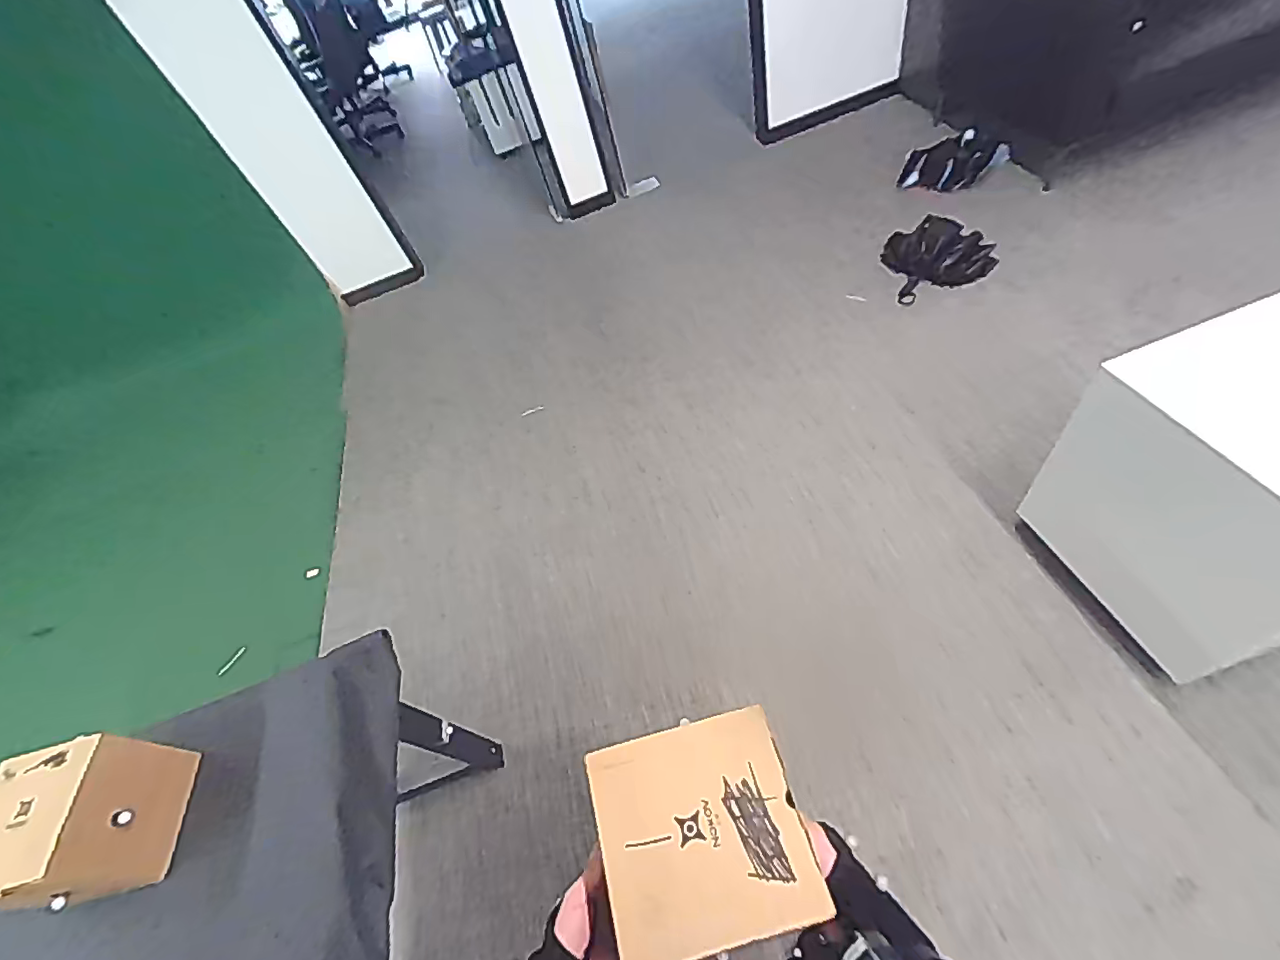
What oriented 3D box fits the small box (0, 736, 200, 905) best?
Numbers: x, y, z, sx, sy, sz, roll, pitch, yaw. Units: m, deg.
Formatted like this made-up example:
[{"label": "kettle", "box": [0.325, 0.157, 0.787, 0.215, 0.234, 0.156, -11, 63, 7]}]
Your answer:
[{"label": "small box", "box": [-0.799, 0.496, 0.786, 0.168, 0.176, 0.179, -16, 53, 4]}]
